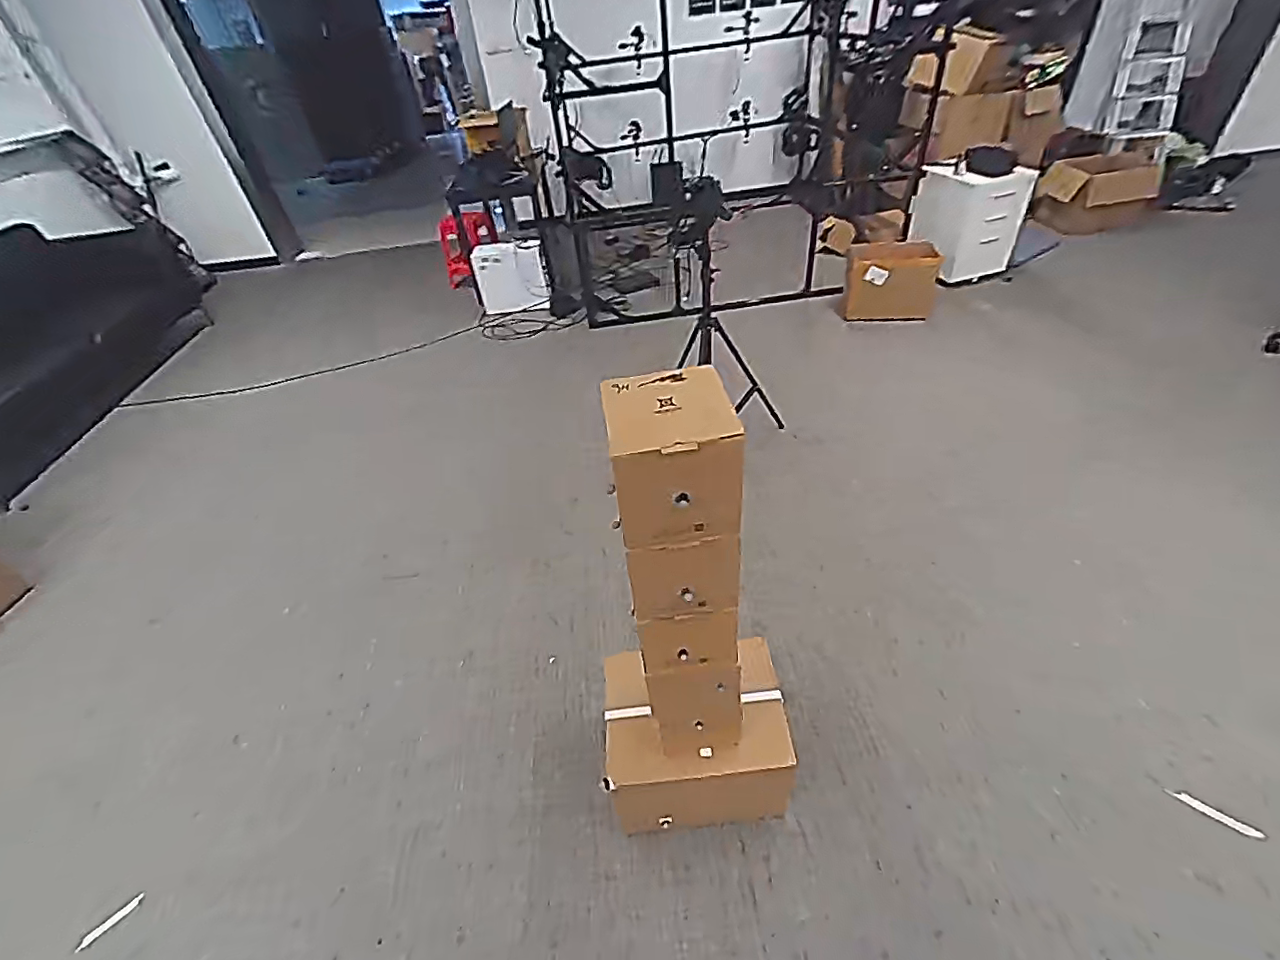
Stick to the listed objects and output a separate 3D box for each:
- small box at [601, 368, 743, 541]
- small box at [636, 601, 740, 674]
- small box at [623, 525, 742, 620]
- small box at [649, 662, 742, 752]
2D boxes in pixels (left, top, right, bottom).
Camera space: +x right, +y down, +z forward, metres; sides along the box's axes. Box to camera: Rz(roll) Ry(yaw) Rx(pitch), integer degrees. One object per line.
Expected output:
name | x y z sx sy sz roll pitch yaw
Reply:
small box | 0.043 -0.030 0.758 0.168 0.176 0.179 -9 43 -2
small box | 0.076 0.220 0.969 0.168 0.176 0.179 -8 42 -1
small box | 0.059 0.095 0.863 0.168 0.176 0.179 -9 42 -1
small box | 0.117 0.469 1.176 0.179 0.176 0.168 -8 42 -2
